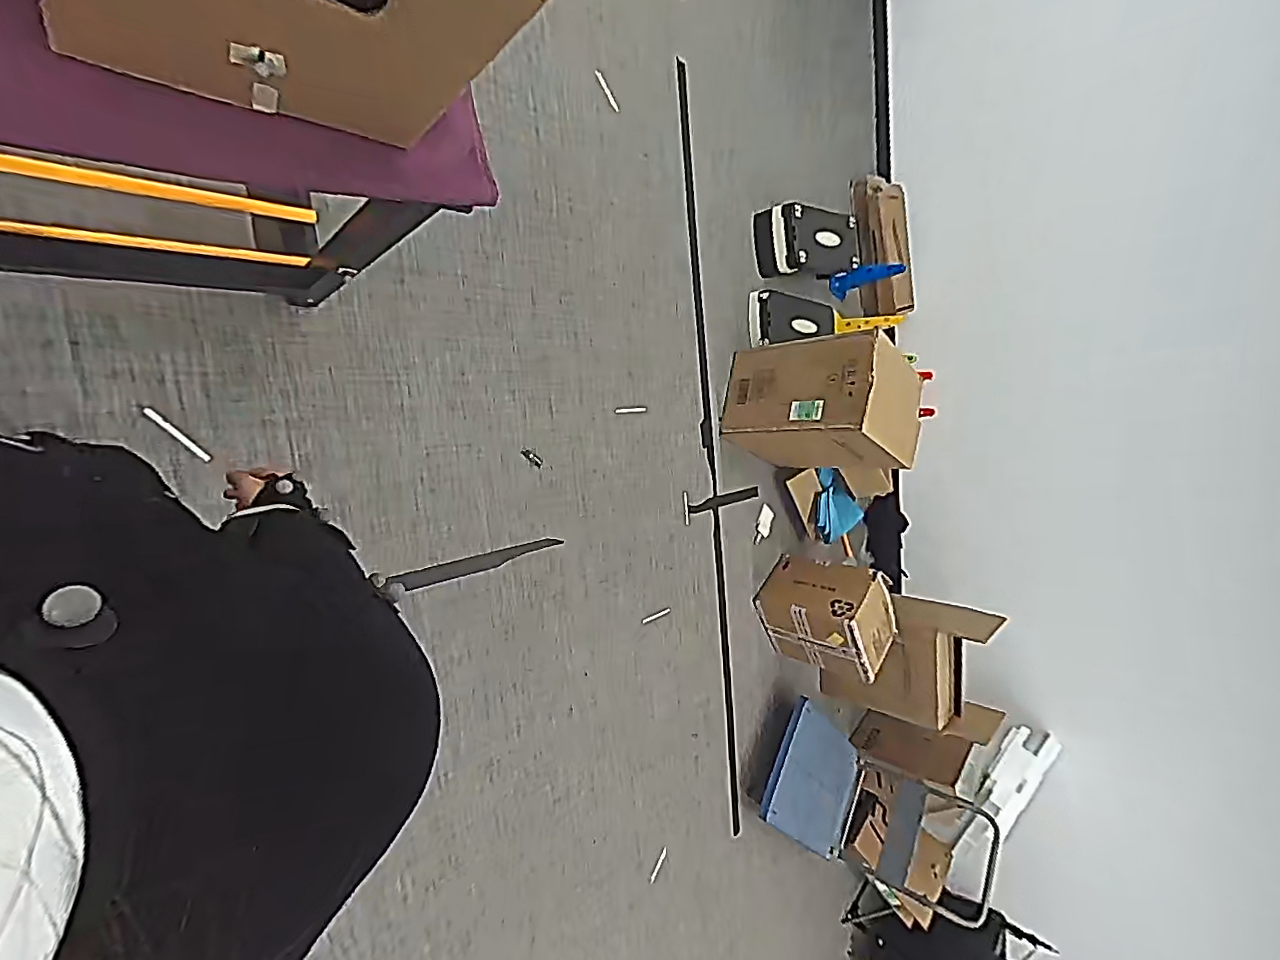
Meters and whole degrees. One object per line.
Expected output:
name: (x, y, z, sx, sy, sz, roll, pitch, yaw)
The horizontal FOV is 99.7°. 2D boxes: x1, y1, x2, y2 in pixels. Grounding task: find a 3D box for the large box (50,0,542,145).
large box: (-0.311, -0.579, 0.441, 0.320, 0.320, 0.408, -12, 99, -45)
